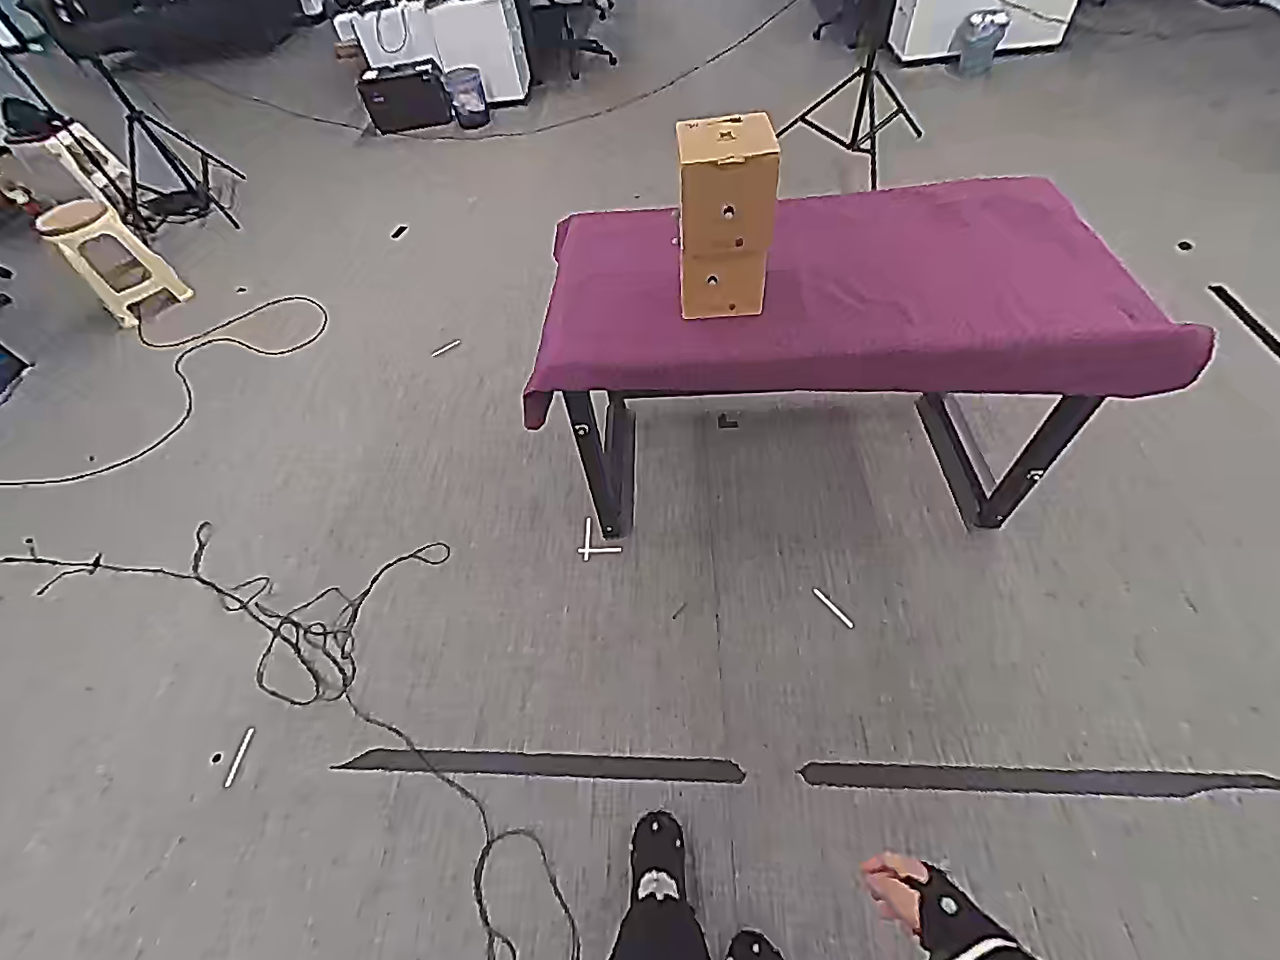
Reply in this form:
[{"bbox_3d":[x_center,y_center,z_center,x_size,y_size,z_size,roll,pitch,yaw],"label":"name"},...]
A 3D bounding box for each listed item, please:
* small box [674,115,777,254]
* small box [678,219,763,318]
[{"bbox_3d":[0.152,-0.535,0.996,0.168,0.176,0.179,-4,54,4],"label":"small box"},{"bbox_3d":[0.167,-0.459,1.143,0.168,0.176,0.179,-3,53,5],"label":"small box"}]
